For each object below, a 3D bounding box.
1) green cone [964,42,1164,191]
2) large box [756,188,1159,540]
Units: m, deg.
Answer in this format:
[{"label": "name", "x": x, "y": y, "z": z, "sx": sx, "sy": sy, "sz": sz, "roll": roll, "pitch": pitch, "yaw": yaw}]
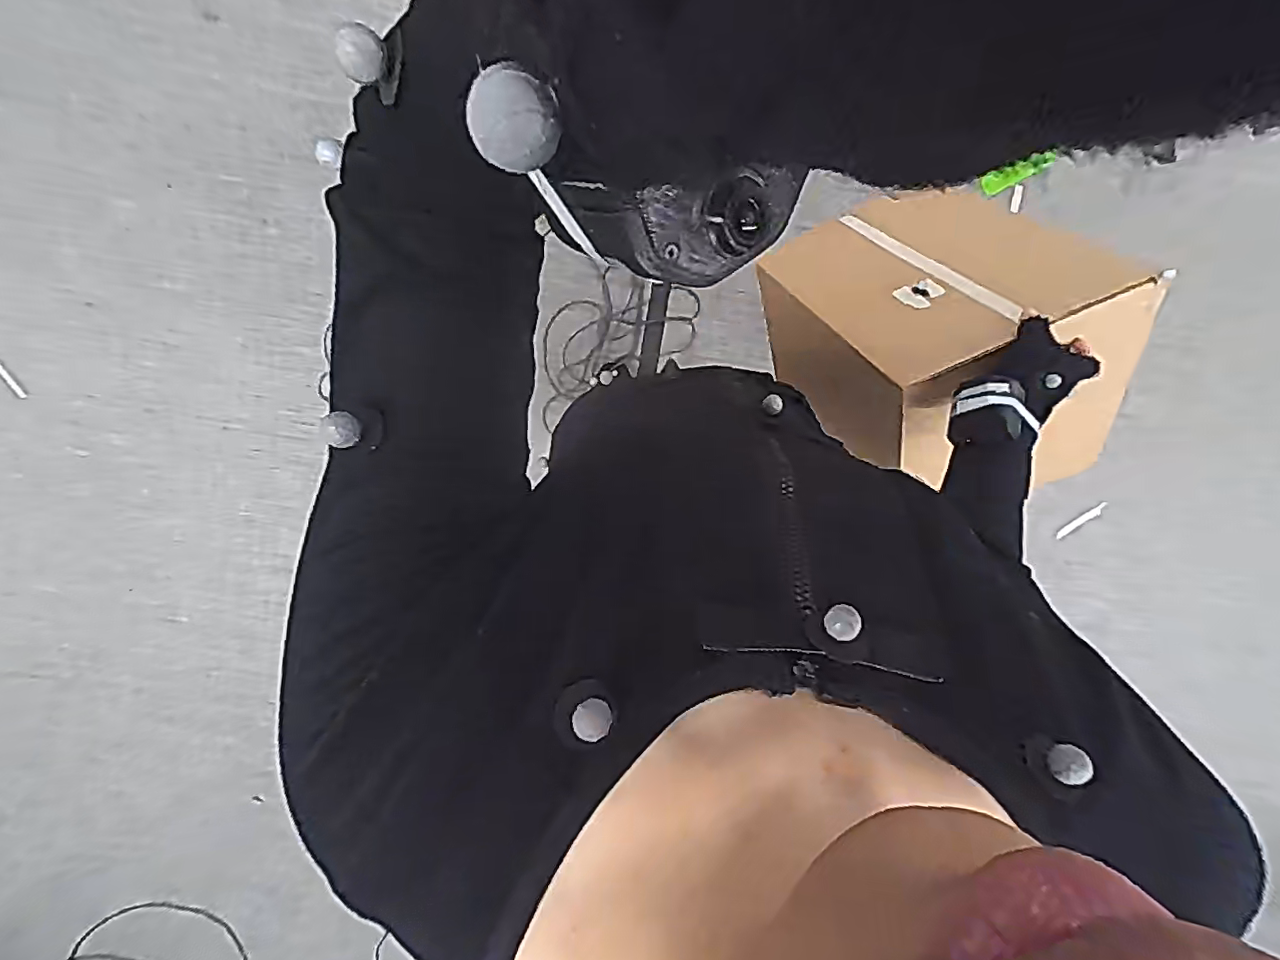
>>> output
[{"label": "green cone", "x": 0.930, "y": -0.815, "z": 1.170, "sx": 0.202, "sy": 0.368, "sz": 0.200, "roll": -29, "pitch": 102, "yaw": 2}, {"label": "large box", "x": 0.417, "y": -0.188, "z": 0.837, "sx": 0.320, "sy": 0.408, "sz": 0.320, "roll": -23, "pitch": 135, "yaw": 1}]
